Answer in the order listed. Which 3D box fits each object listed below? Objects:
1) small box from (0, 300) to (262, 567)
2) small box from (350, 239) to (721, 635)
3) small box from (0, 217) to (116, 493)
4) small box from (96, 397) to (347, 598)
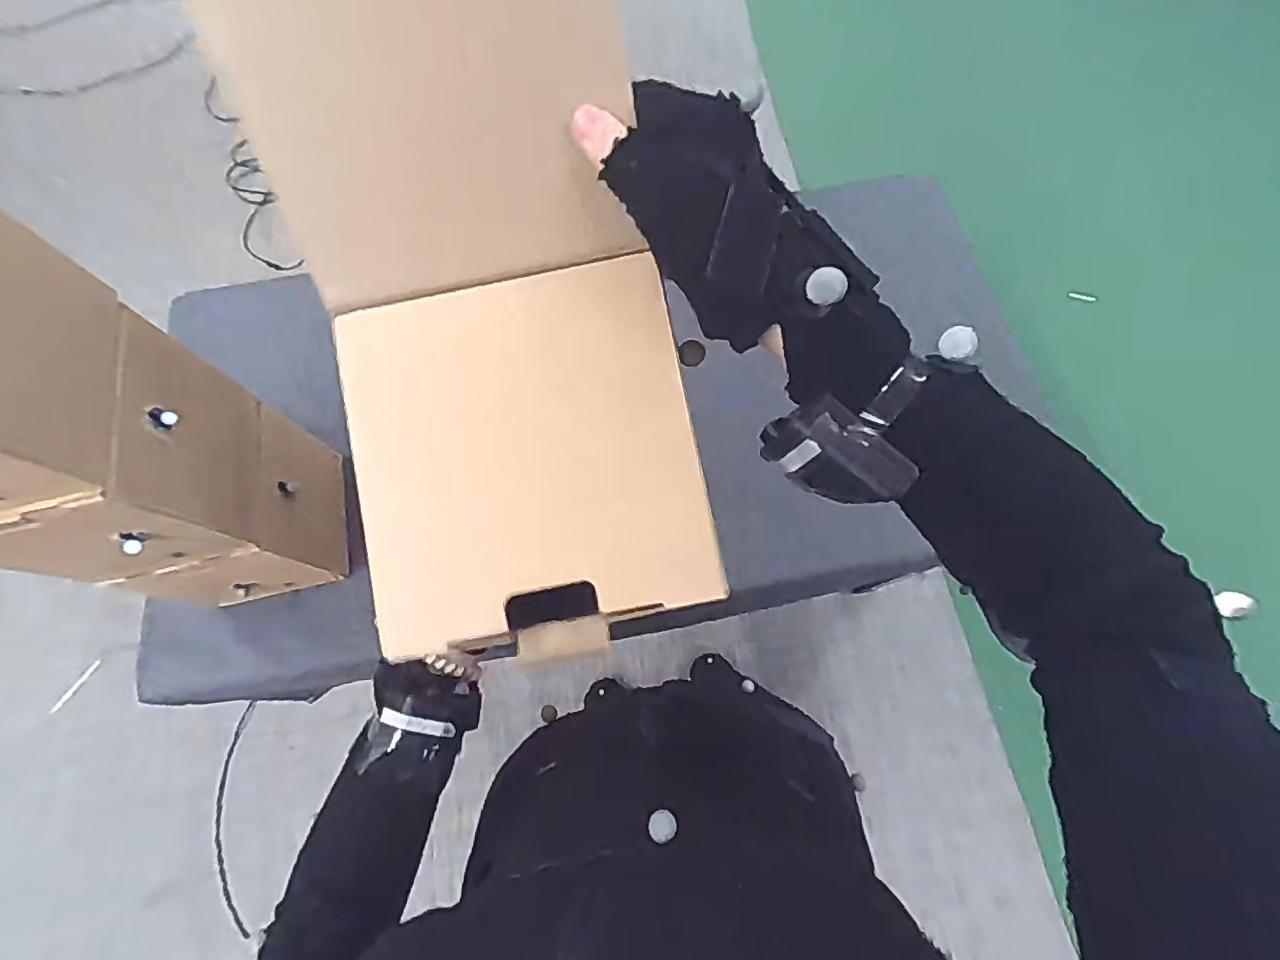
[{"bbox_3d":[-0.477,-0.026,0.487,0.168,0.176,0.179,-12,71,-3],"label":"small box"},{"bbox_3d":[-0.049,-0.015,0.339,0.168,0.176,0.179,-9,85,3],"label":"small box"},{"bbox_3d":[-0.484,-0.087,0.334,0.168,0.176,0.179,-13,71,-4],"label":"small box"},{"bbox_3d":[-0.473,0.029,0.640,0.168,0.176,0.179,-13,72,-3],"label":"small box"}]
